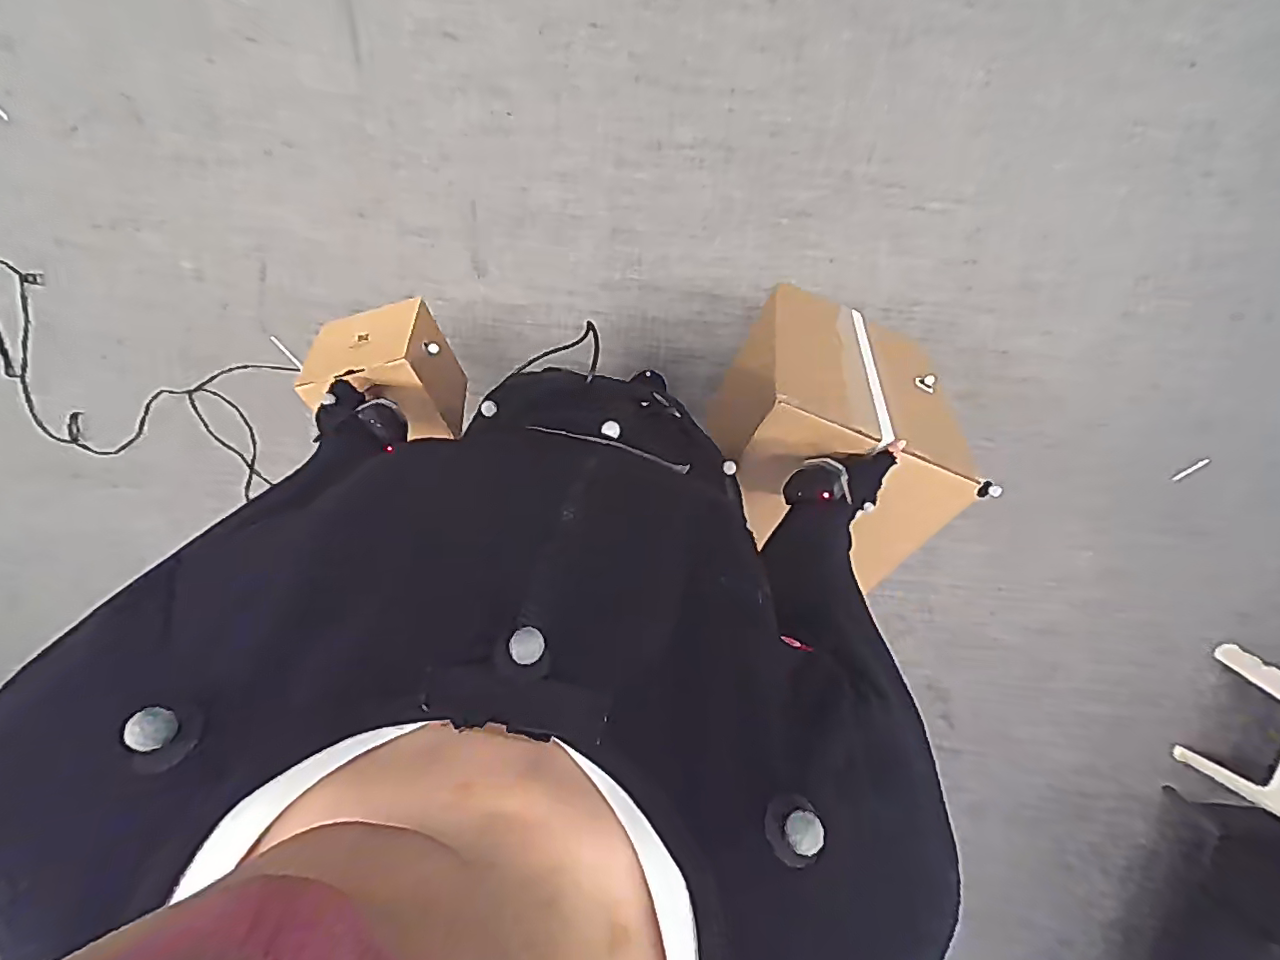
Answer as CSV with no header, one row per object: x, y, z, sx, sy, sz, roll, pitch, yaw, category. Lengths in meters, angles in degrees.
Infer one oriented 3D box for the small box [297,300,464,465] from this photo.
-0.395,-0.153,0.861,0.168,0.179,0.176,-15,137,3,small box
